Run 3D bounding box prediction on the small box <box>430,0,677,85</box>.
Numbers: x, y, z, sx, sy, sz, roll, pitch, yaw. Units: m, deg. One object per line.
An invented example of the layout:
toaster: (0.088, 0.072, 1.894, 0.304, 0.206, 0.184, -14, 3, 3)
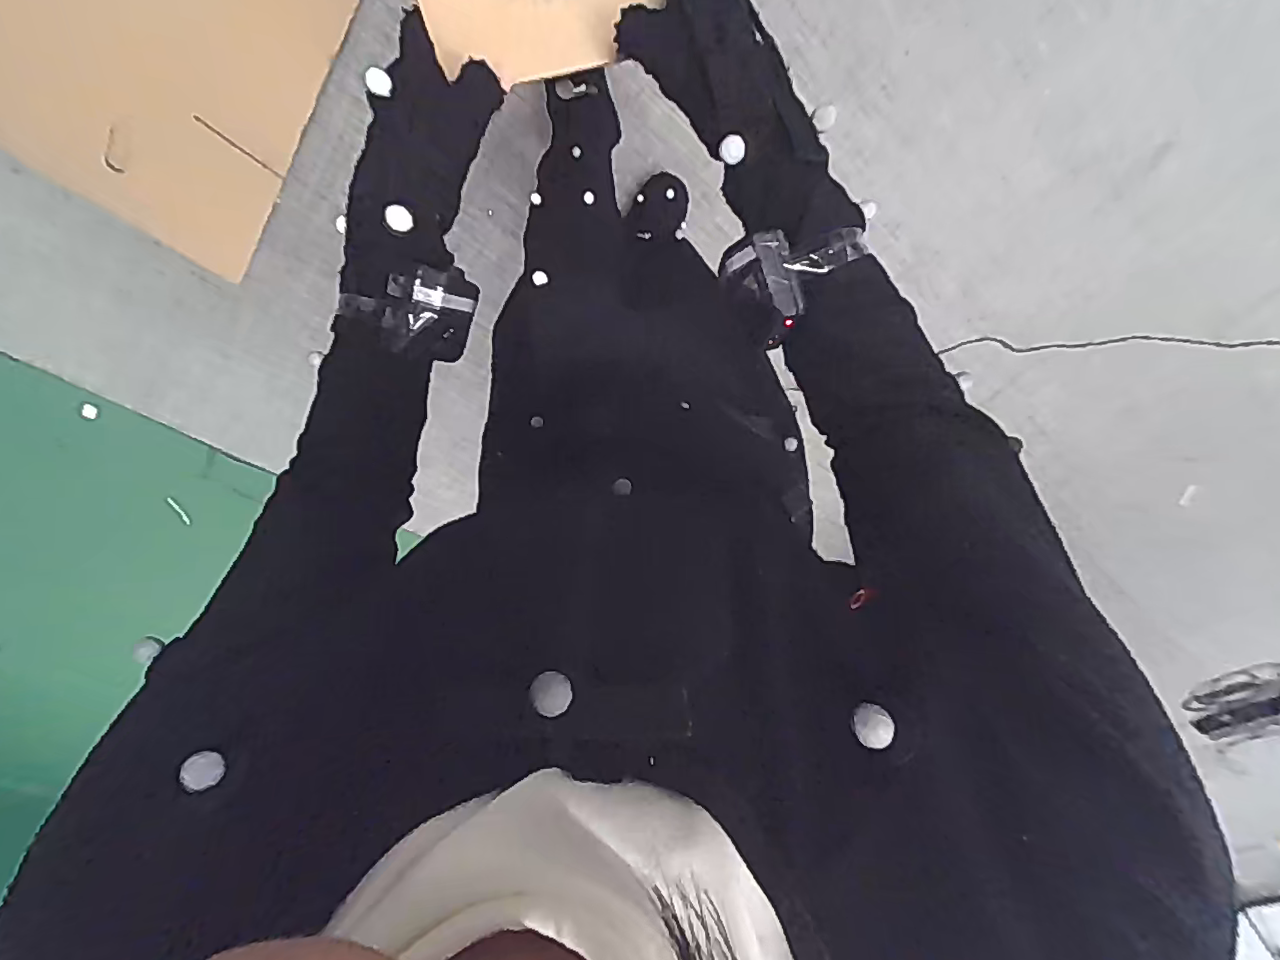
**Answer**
small box: (-0.071, -0.415, 0.397, 0.168, 0.176, 0.179, -9, 128, 7)
